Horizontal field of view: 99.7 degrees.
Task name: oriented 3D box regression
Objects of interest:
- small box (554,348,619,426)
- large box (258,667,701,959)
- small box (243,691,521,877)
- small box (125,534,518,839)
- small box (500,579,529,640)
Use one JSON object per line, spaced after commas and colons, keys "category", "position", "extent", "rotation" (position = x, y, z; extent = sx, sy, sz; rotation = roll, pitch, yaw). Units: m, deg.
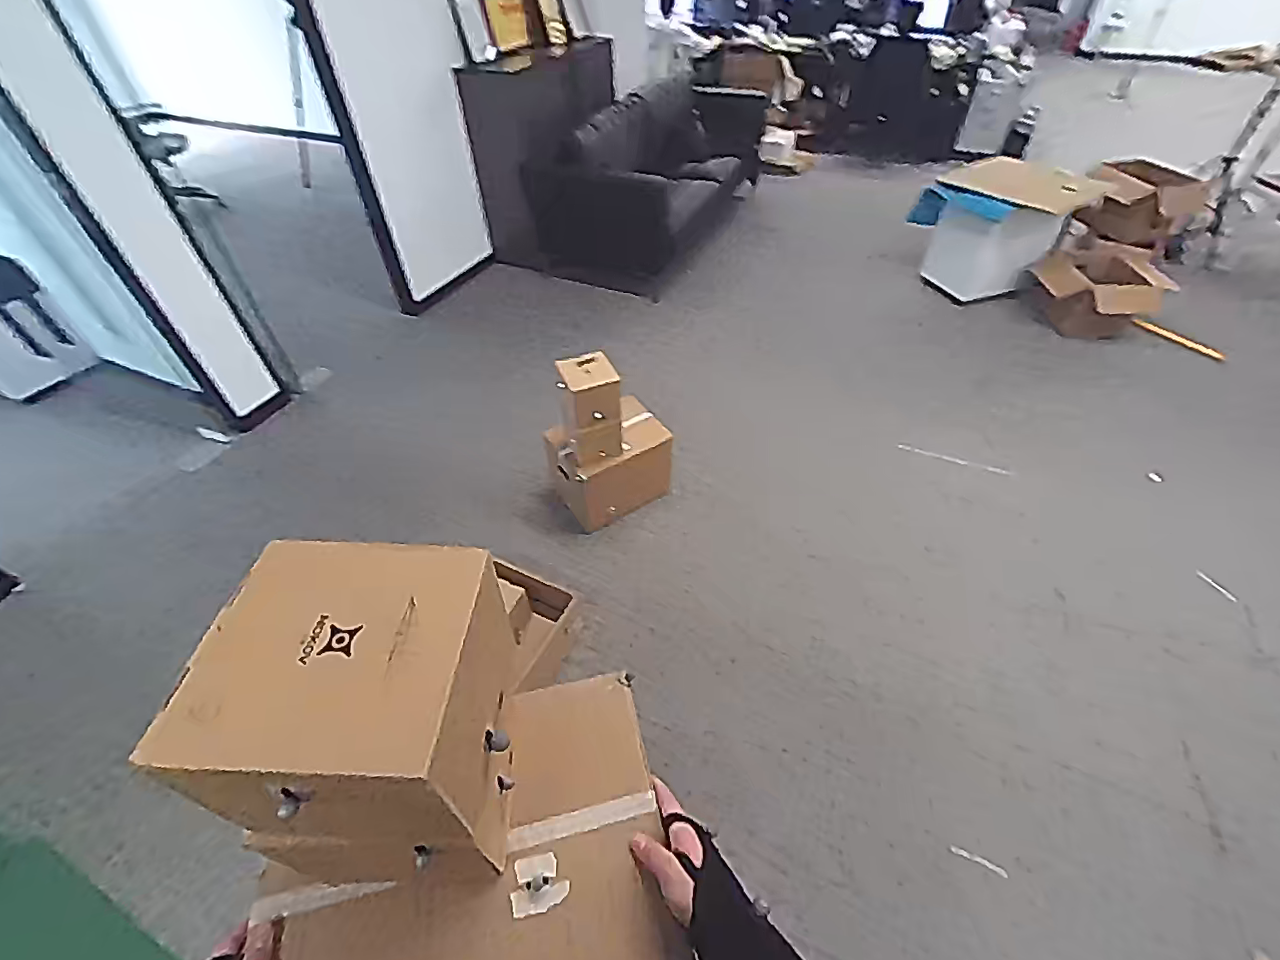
{"category": "small box", "position": [-0.177, -0.307, 1.801], "extent": [0.168, 0.176, 0.179], "rotation": [-18, 50, -15]}
{"category": "large box", "position": [-0.174, 0.483, 0.668], "extent": [0.408, 0.320, 0.320], "rotation": [-9, 48, -10]}
{"category": "small box", "position": [-0.225, 0.274, 0.532], "extent": [0.179, 0.176, 0.168], "rotation": [-1, 45, -2]}
{"category": "small box", "position": [-0.205, 0.160, 0.416], "extent": [0.179, 0.176, 0.168], "rotation": [3, 46, 1]}
{"category": "small box", "position": [-0.464, 0.424, 1.694], "extent": [0.168, 0.176, 0.179], "rotation": [15, 48, 16]}
